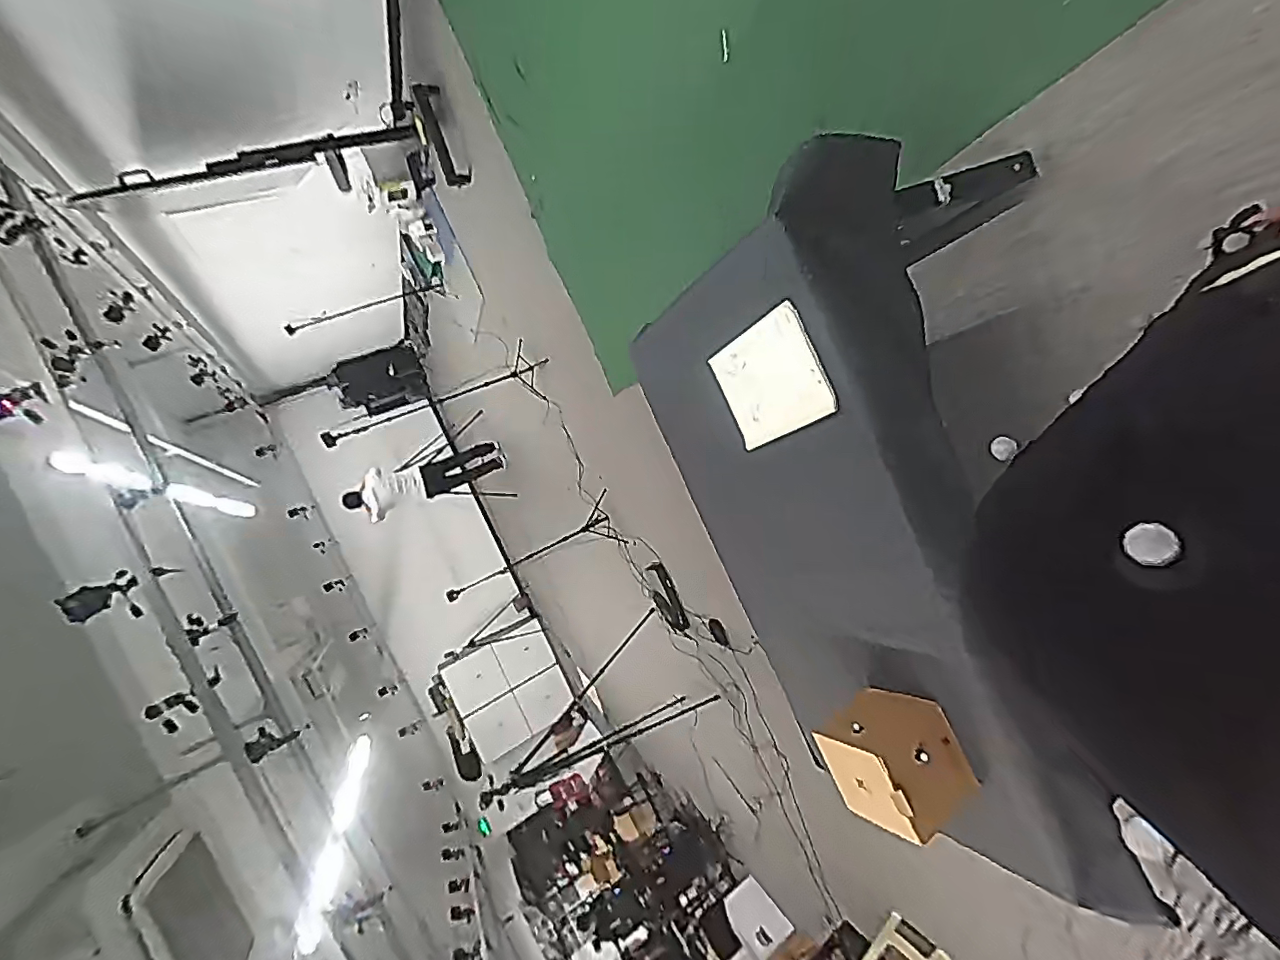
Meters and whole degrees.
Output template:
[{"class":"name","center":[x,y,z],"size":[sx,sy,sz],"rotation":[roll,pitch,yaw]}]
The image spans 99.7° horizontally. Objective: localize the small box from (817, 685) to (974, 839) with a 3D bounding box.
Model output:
[{"class":"small box","center":[0.472,0.500,0.992],"size":[0.168,0.176,0.179],"rotation":[65,158,2]}]
